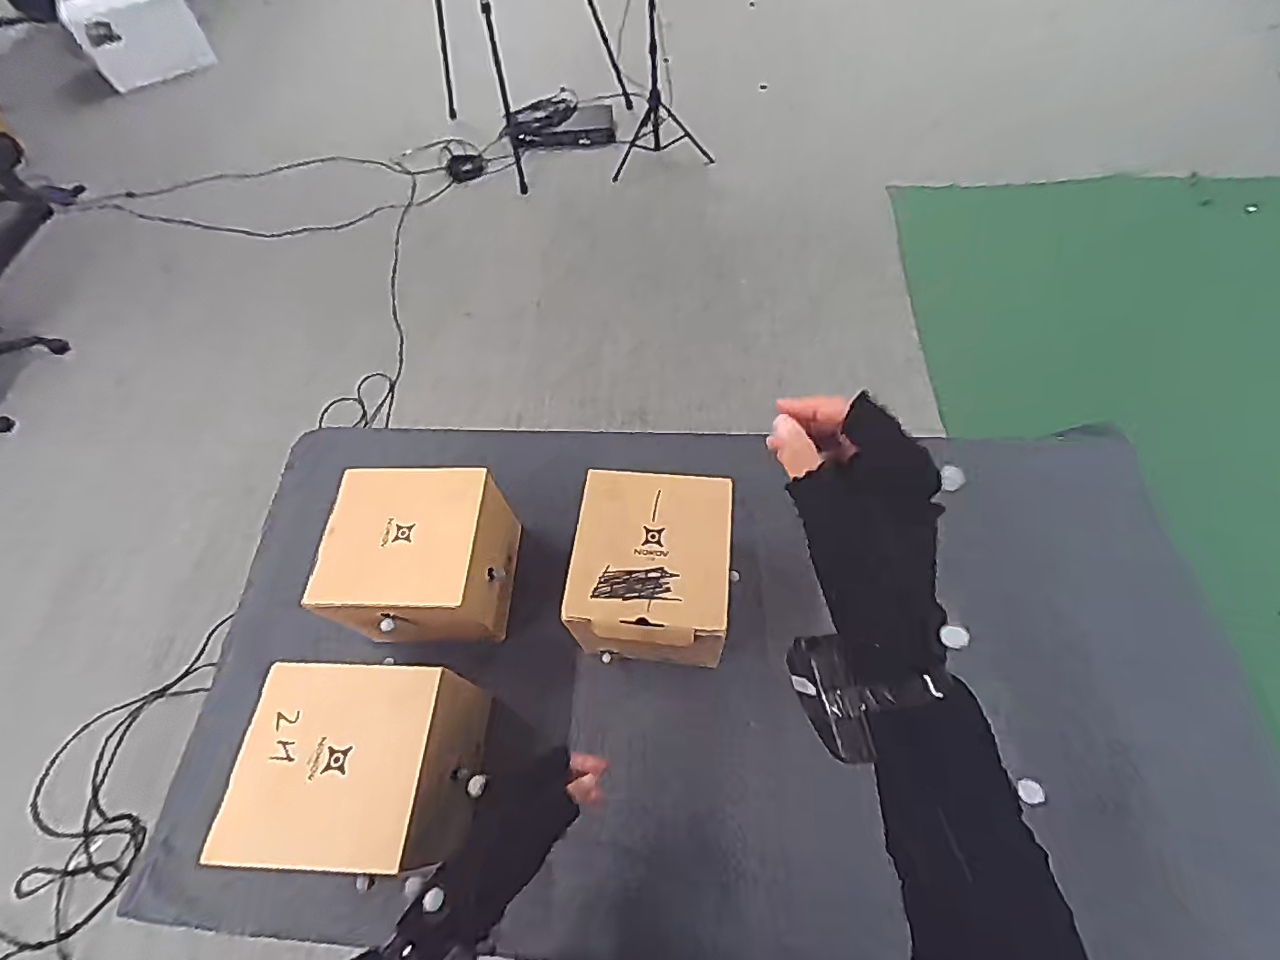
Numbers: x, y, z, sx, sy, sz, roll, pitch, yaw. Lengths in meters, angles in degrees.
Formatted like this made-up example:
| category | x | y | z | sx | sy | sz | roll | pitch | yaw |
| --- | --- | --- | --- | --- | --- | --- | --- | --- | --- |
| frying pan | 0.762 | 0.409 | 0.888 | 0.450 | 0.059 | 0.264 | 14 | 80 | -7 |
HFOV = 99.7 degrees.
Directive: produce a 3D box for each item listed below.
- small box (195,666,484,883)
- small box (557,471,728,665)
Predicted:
| category | x | y | z | sx | sy | sz | roll | pitch | yaw |
| --- | --- | --- | --- | --- | --- | --- | --- | --- | --- |
| small box | -0.276 | 0.294 | 0.551 | 0.179 | 0.176 | 0.168 | 0 | 59 | 4 |
| small box | 0.013 | 0.110 | 0.636 | 0.168 | 0.176 | 0.179 | 4 | 60 | 7 |
